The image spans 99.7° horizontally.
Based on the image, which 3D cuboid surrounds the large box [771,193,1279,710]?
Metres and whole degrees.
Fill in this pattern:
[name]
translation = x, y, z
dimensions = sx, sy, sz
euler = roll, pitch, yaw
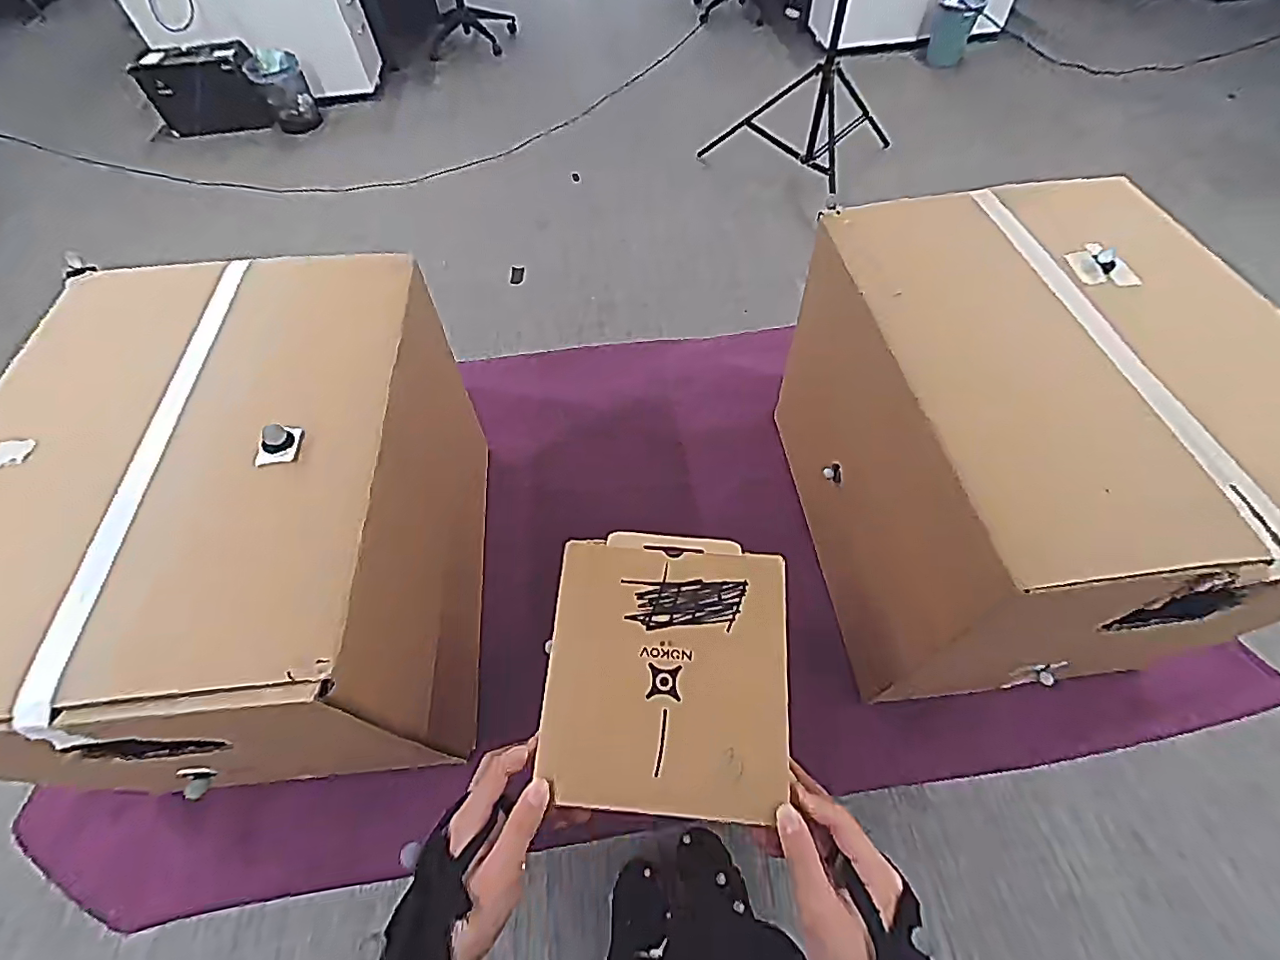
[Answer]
[large box]
translation = 0.352, -0.025, 0.555
dimensions = 0.320, 0.320, 0.408
euler = -7, 55, -2
